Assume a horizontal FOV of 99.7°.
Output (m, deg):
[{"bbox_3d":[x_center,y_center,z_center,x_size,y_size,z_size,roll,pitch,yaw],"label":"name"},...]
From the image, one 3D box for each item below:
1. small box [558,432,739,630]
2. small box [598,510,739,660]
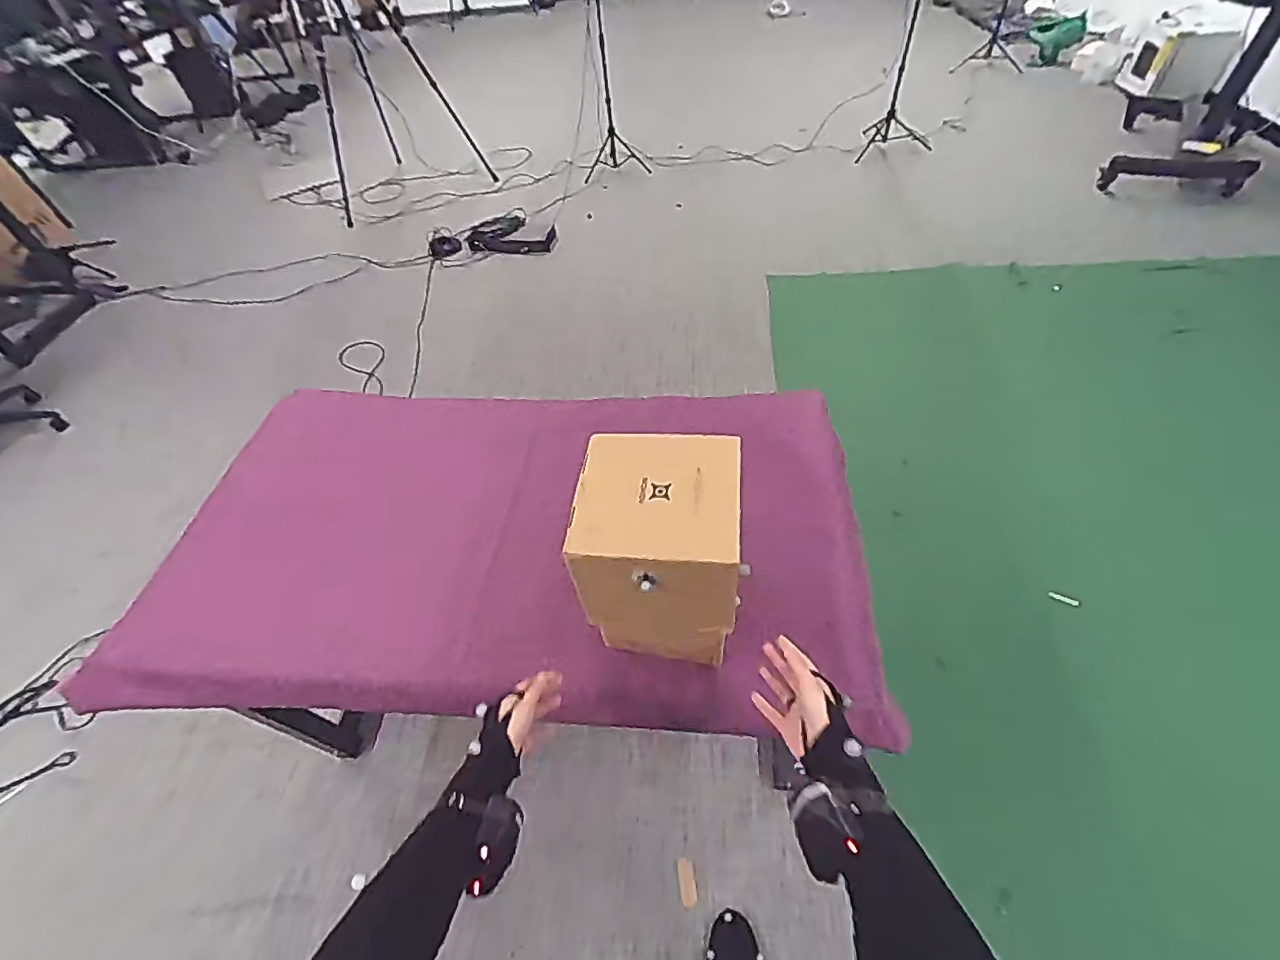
[{"bbox_3d":[0.023,0.062,0.629,0.179,0.176,0.168,2,51,9],"label":"small box"},{"bbox_3d":[0.042,0.141,0.773,0.179,0.176,0.168,7,52,13],"label":"small box"}]
